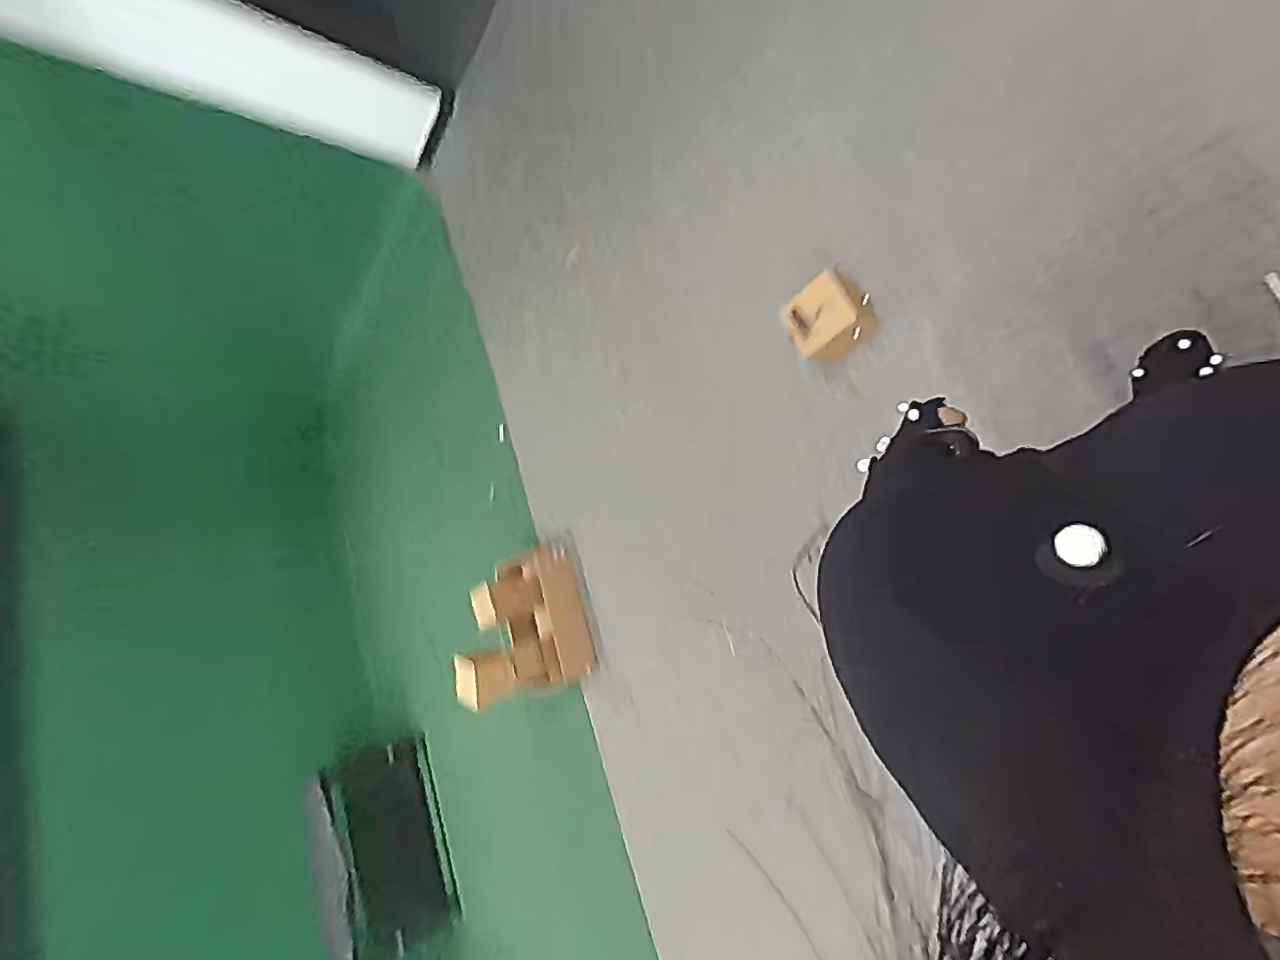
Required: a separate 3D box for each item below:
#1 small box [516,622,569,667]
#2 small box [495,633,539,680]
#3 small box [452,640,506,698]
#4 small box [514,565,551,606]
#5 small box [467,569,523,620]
[{"bbox_3d":[-0.462,0.783,2.548,0.179,0.176,0.168,-31,72,42],"label":"small box"},{"bbox_3d":[-0.570,0.795,2.425,0.179,0.176,0.168,-29,72,44],"label":"small box"},{"bbox_3d":[-0.682,0.800,2.307,0.179,0.176,0.168,2,94,46],"label":"small box"},{"bbox_3d":[-0.559,0.517,2.624,0.179,0.176,0.168,-23,79,44],"label":"small box"},{"bbox_3d":[-0.672,0.530,2.507,0.179,0.176,0.168,-35,72,39],"label":"small box"}]
